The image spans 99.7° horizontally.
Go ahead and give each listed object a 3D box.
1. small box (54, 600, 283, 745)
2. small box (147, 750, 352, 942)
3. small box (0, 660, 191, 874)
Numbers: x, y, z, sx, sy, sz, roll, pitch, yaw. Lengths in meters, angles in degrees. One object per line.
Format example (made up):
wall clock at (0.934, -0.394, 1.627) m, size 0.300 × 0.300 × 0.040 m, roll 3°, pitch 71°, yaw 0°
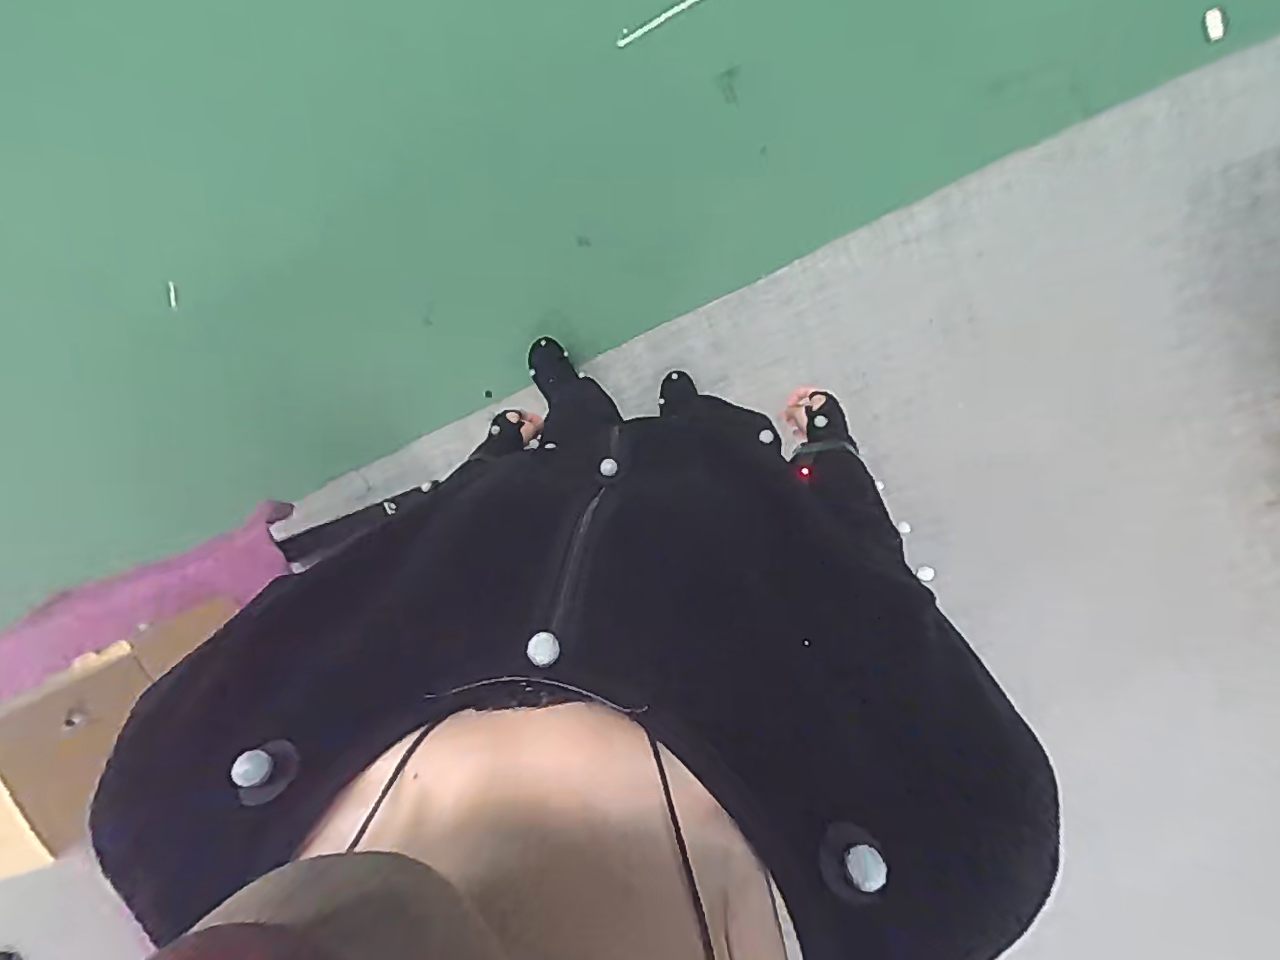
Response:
small box at (-0.714, 0.307, 0.840) m, size 0.168 × 0.176 × 0.179 m, roll -26°, pitch 96°, yaw 12°
small box at (-0.620, 0.585, 0.881) m, size 0.179 × 0.176 × 0.168 m, roll -29°, pitch 96°, yaw 13°
small box at (-0.738, 0.351, 0.683) m, size 0.168 × 0.176 × 0.179 m, roll -20°, pitch 98°, yaw 11°
